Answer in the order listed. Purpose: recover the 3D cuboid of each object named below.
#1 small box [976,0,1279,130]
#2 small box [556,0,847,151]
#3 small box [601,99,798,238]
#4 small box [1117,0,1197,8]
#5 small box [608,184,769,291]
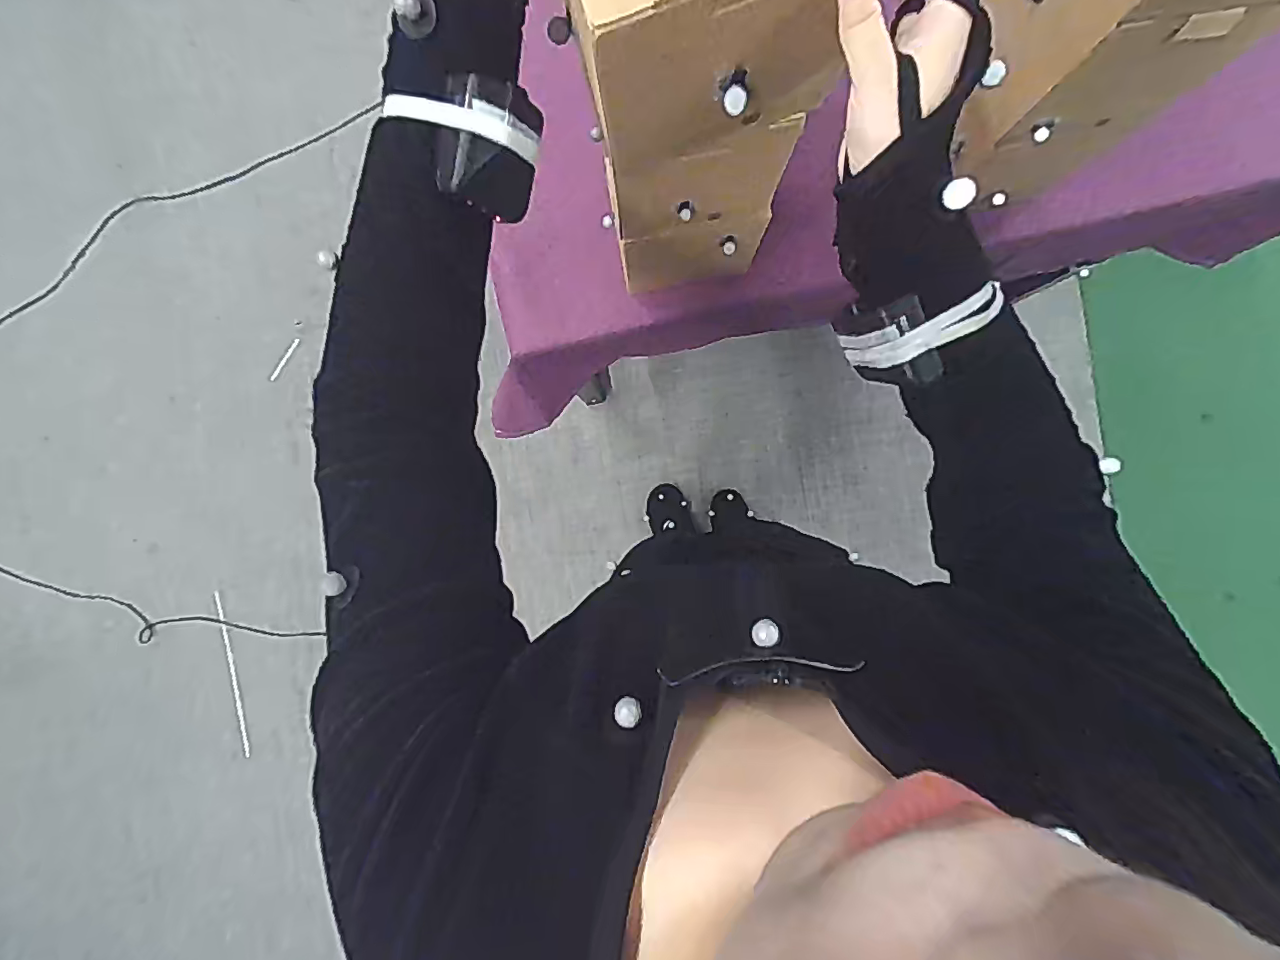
[{"bbox_3d":[0.455,-0.466,0.513,0.168,0.176,0.179,-7,90,2],"label":"small box"},{"bbox_3d":[0.024,-0.329,0.320,0.168,0.176,0.179,-17,97,5],"label":"small box"},{"bbox_3d":[0.041,-0.371,0.532,0.168,0.176,0.179,-10,91,2],"label":"small box"},{"bbox_3d":[0.451,-0.458,0.350,0.179,0.176,0.168,-6,92,2],"label":"small box"},{"bbox_3d":[0.051,-0.363,0.695,0.179,0.176,0.168,-10,89,2],"label":"small box"}]
